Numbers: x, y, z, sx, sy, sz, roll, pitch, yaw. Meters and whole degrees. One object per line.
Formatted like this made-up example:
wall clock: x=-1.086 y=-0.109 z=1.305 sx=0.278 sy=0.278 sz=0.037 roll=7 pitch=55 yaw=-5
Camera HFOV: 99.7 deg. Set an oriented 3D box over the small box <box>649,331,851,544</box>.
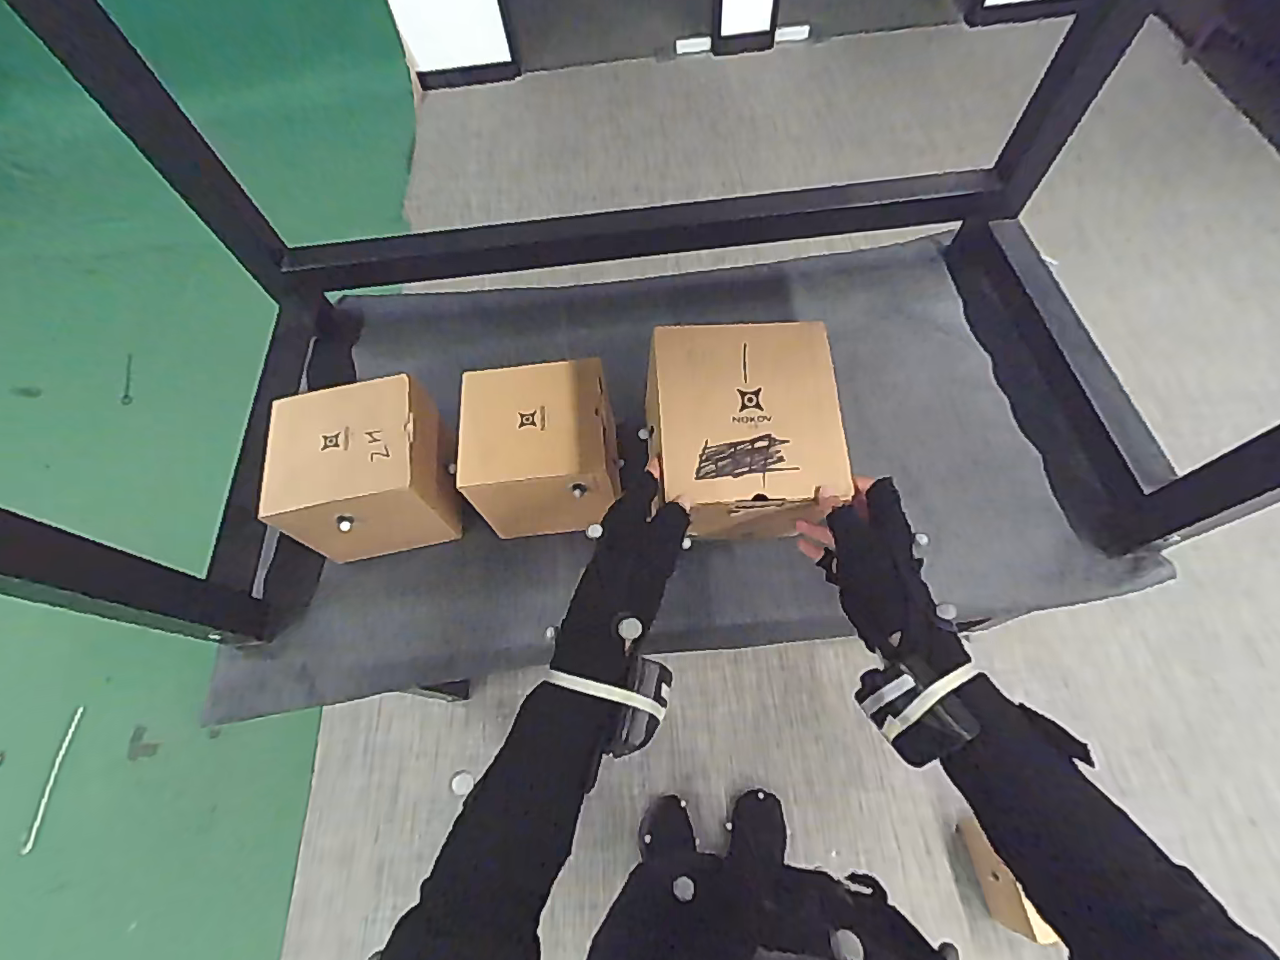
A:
small box: x=0.095 y=-0.032 z=0.556 sx=0.168 sy=0.176 sz=0.179 roll=-2 pitch=72 yaw=-2
